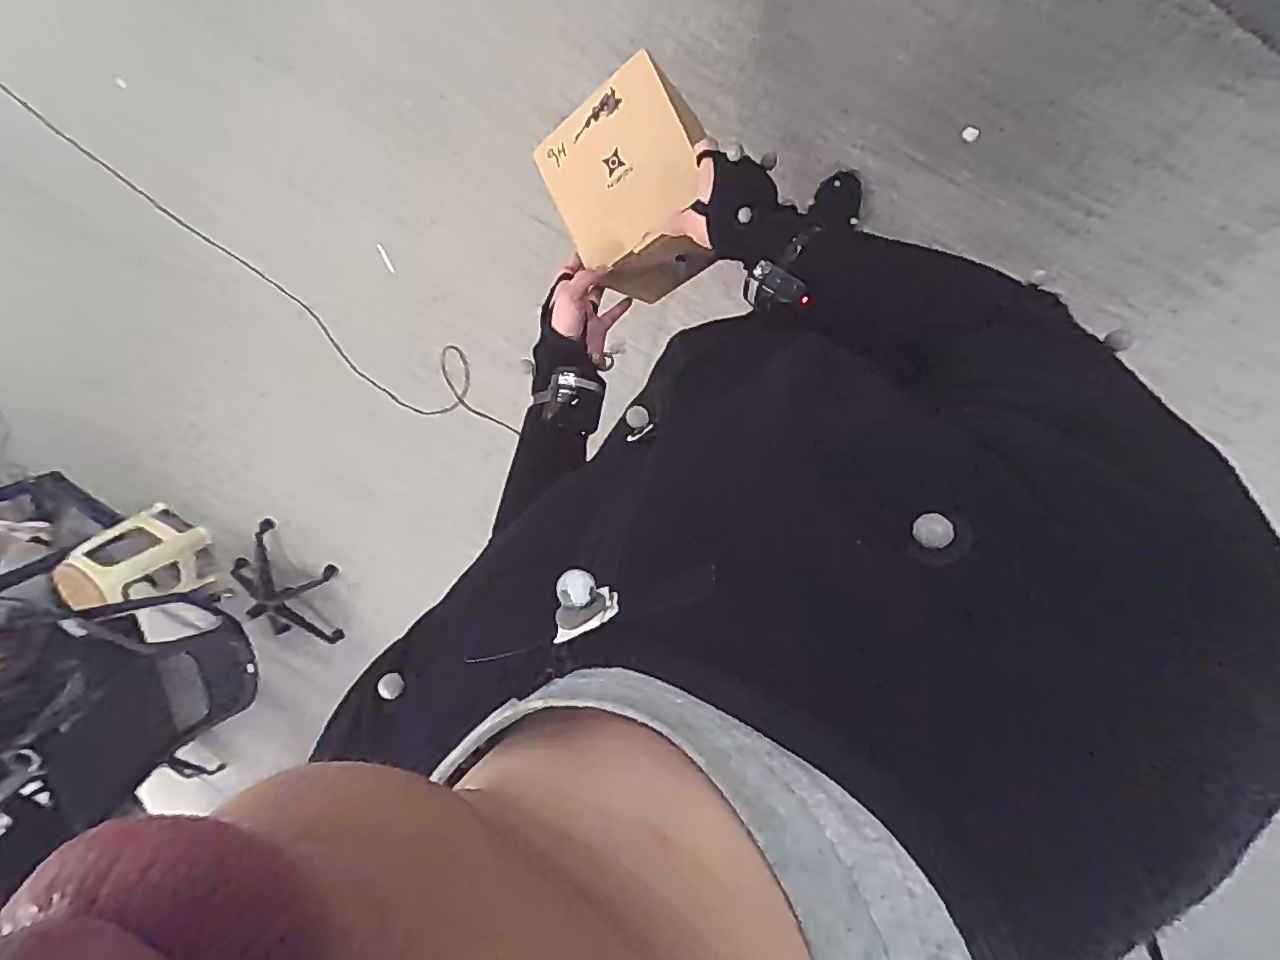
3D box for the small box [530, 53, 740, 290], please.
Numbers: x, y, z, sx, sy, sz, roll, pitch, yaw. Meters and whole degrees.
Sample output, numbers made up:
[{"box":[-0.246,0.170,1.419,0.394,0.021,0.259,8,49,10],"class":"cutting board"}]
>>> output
[{"box":[0.003,-0.355,0.670,0.168,0.176,0.179,-26,86,27],"class":"small box"}]
